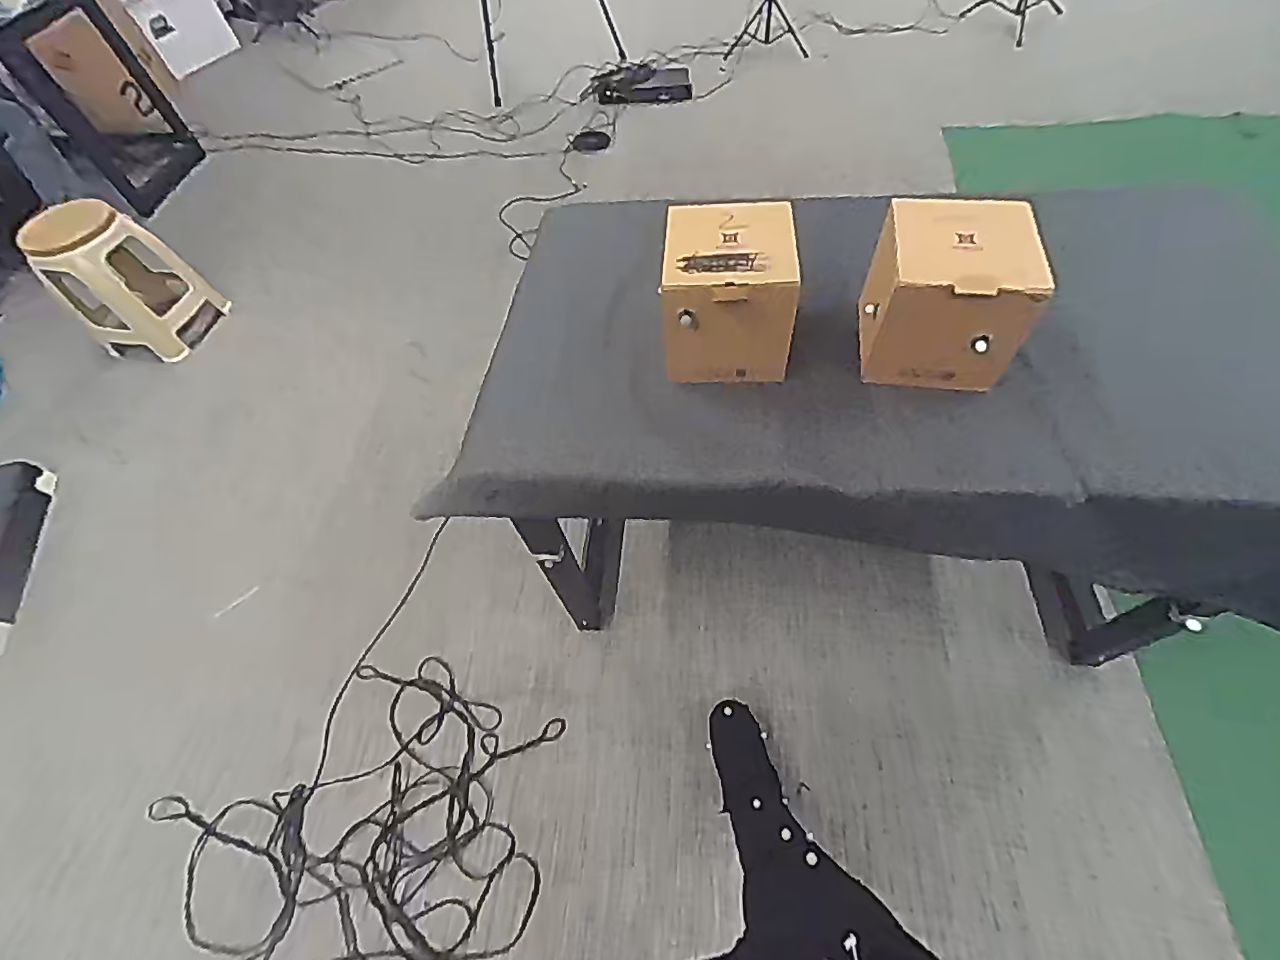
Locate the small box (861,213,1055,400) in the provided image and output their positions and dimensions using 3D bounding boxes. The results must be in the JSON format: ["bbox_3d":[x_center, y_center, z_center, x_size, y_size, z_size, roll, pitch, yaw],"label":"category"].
[{"bbox_3d":[0.401,-0.227,0.717,0.168,0.176,0.179,7,56,10],"label":"small box"}]
